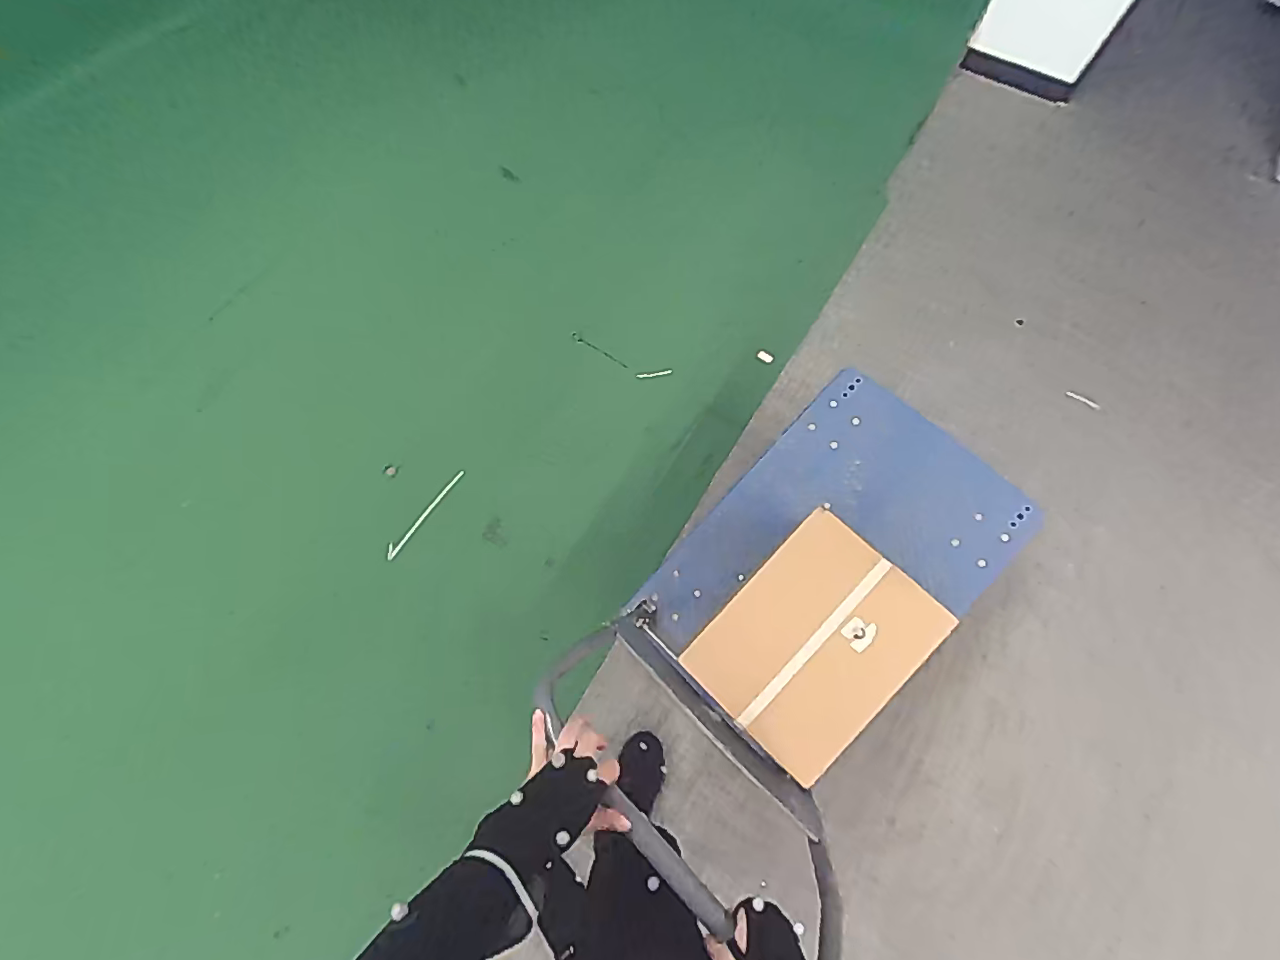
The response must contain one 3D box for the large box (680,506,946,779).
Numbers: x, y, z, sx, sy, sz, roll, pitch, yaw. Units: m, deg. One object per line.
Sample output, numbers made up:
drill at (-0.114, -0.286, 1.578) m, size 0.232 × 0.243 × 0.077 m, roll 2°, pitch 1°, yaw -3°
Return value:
large box at (0.338, 0.322, 1.148) m, size 0.320 × 0.320 × 0.408 m, roll 43°, pitch 89°, yaw 14°
